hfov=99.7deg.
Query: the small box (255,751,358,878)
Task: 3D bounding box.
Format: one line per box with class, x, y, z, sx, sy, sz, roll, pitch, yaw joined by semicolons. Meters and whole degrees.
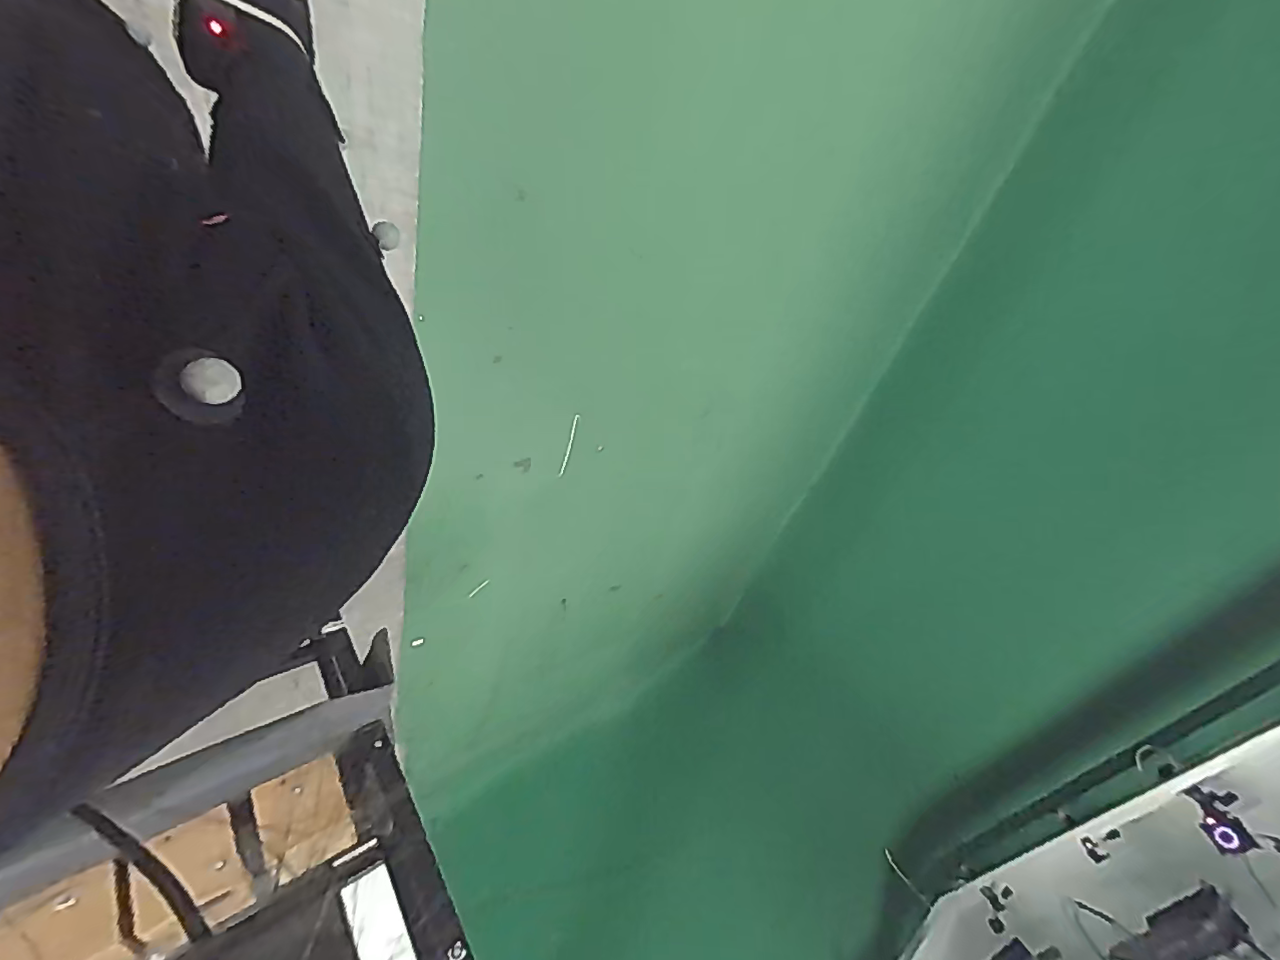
small box;-0.780;0.777;1.269;0.168;0.176;0.179;-17;140;-36
